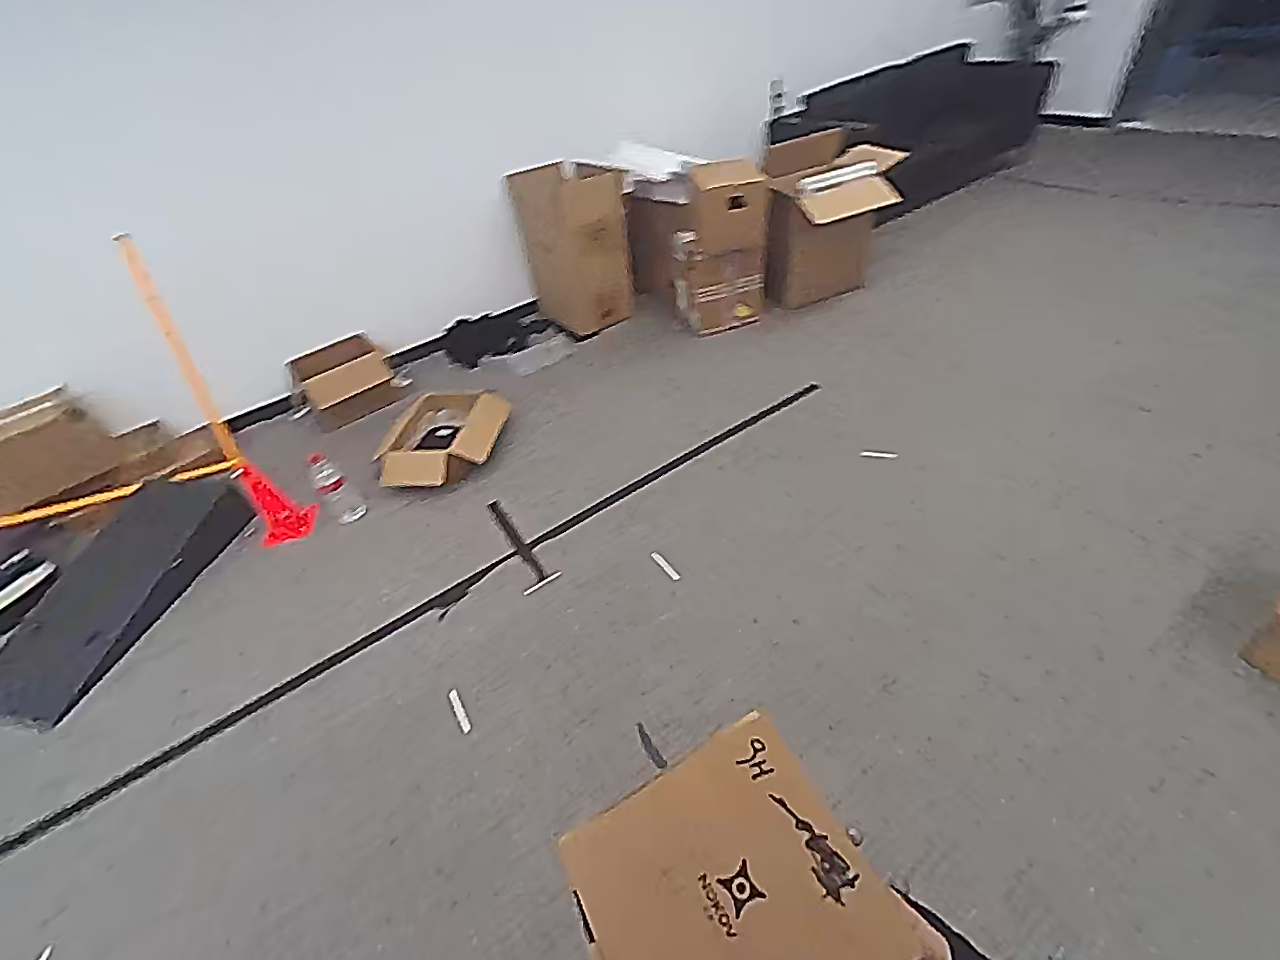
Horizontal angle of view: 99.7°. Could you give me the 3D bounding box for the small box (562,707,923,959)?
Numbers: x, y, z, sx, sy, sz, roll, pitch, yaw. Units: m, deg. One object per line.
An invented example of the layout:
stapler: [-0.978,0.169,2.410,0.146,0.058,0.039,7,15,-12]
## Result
small box: [0.065,0.308,0.410,0.179,0.176,0.168,-26,58,-13]
